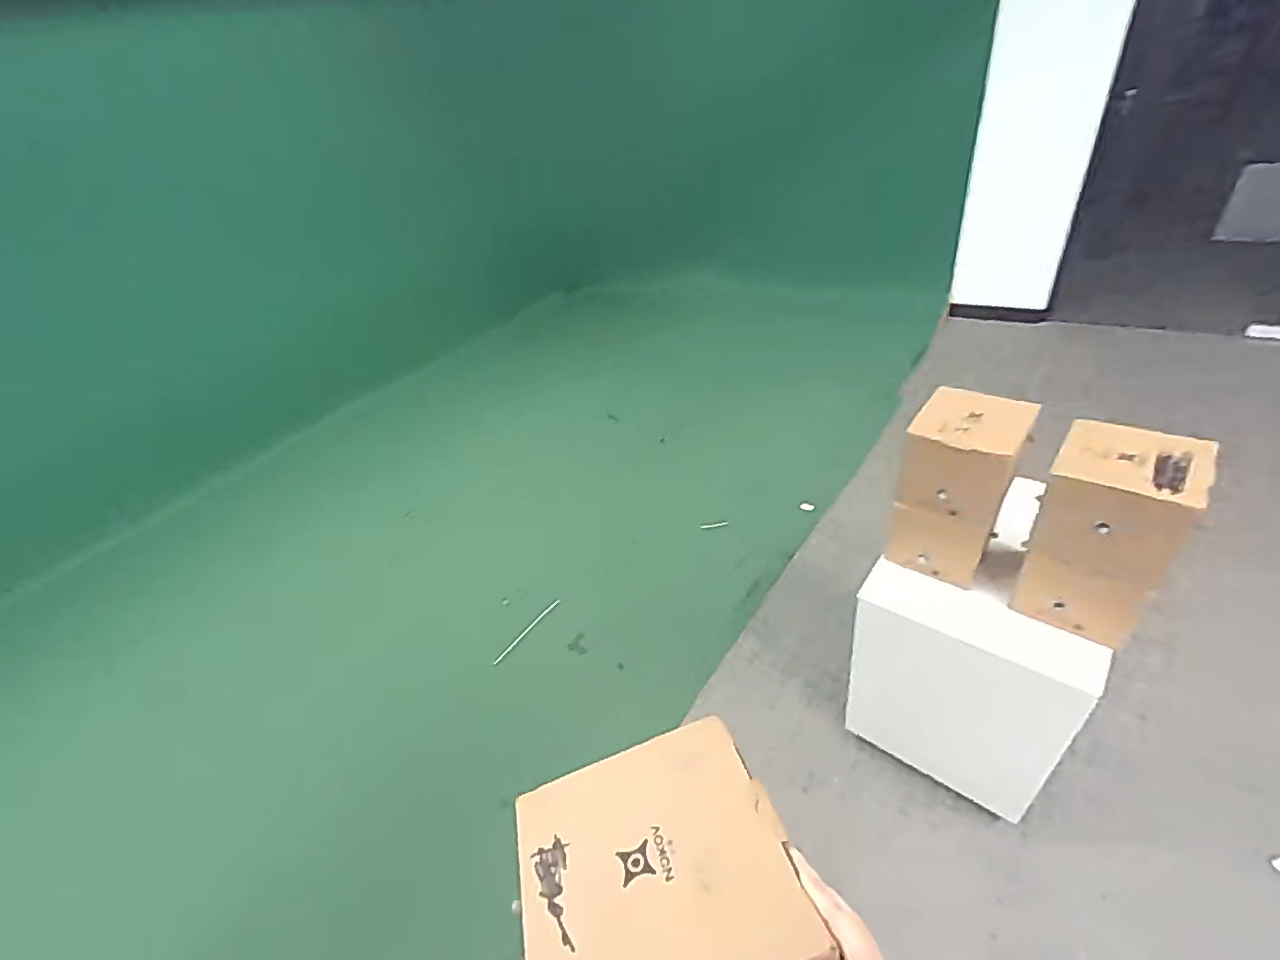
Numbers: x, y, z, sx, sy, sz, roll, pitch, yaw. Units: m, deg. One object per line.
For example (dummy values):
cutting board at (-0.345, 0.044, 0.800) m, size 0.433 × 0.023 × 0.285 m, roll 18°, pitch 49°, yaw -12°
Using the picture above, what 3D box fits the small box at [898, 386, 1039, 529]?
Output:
small box at (0.593, -0.044, 0.993) m, size 0.168 × 0.176 × 0.179 m, roll 22°, pitch 50°, yaw 37°

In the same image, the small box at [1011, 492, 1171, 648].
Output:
small box at (0.787, 0.155, 0.956) m, size 0.168 × 0.176 × 0.179 m, roll 22°, pitch 50°, yaw 38°

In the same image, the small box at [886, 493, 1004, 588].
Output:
small box at (0.616, 0.083, 1.096) m, size 0.168 × 0.176 × 0.179 m, roll 22°, pitch 51°, yaw 35°
